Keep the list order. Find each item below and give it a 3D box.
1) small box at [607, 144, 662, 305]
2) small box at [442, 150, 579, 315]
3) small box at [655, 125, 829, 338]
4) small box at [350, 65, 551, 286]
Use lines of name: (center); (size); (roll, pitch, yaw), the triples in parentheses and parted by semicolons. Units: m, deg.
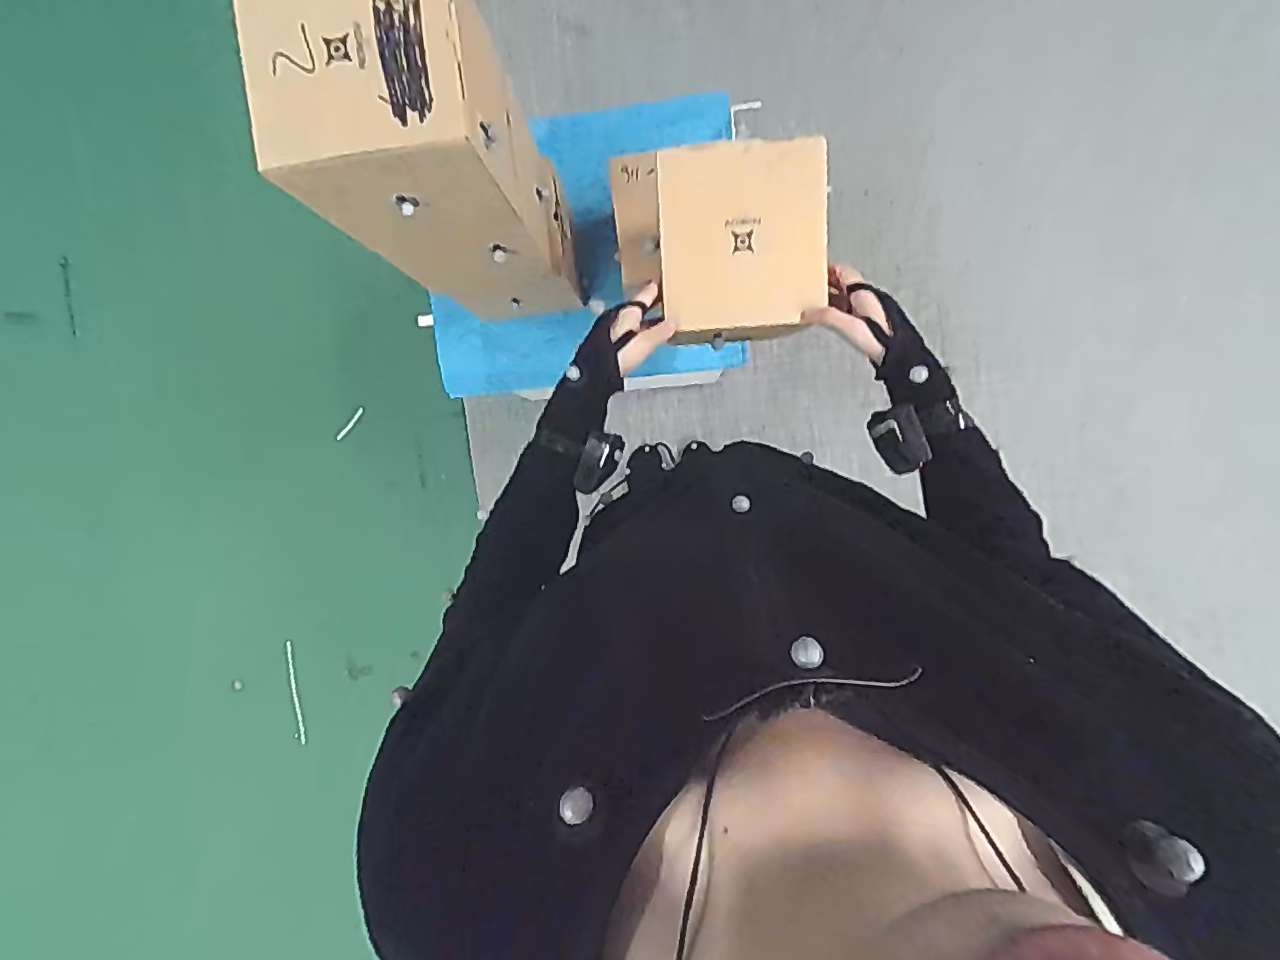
small box: (0.050, -0.368, 0.801); (0.168, 0.176, 0.179); (-6, 93, 3)
small box: (-0.193, -0.359, 0.815); (0.179, 0.176, 0.168); (-7, 92, 4)
small box: (0.105, -0.256, 0.603); (0.168, 0.176, 0.179); (-3, 98, 3)
small box: (-0.211, -0.348, 0.652); (0.179, 0.176, 0.168); (-7, 92, 3)
